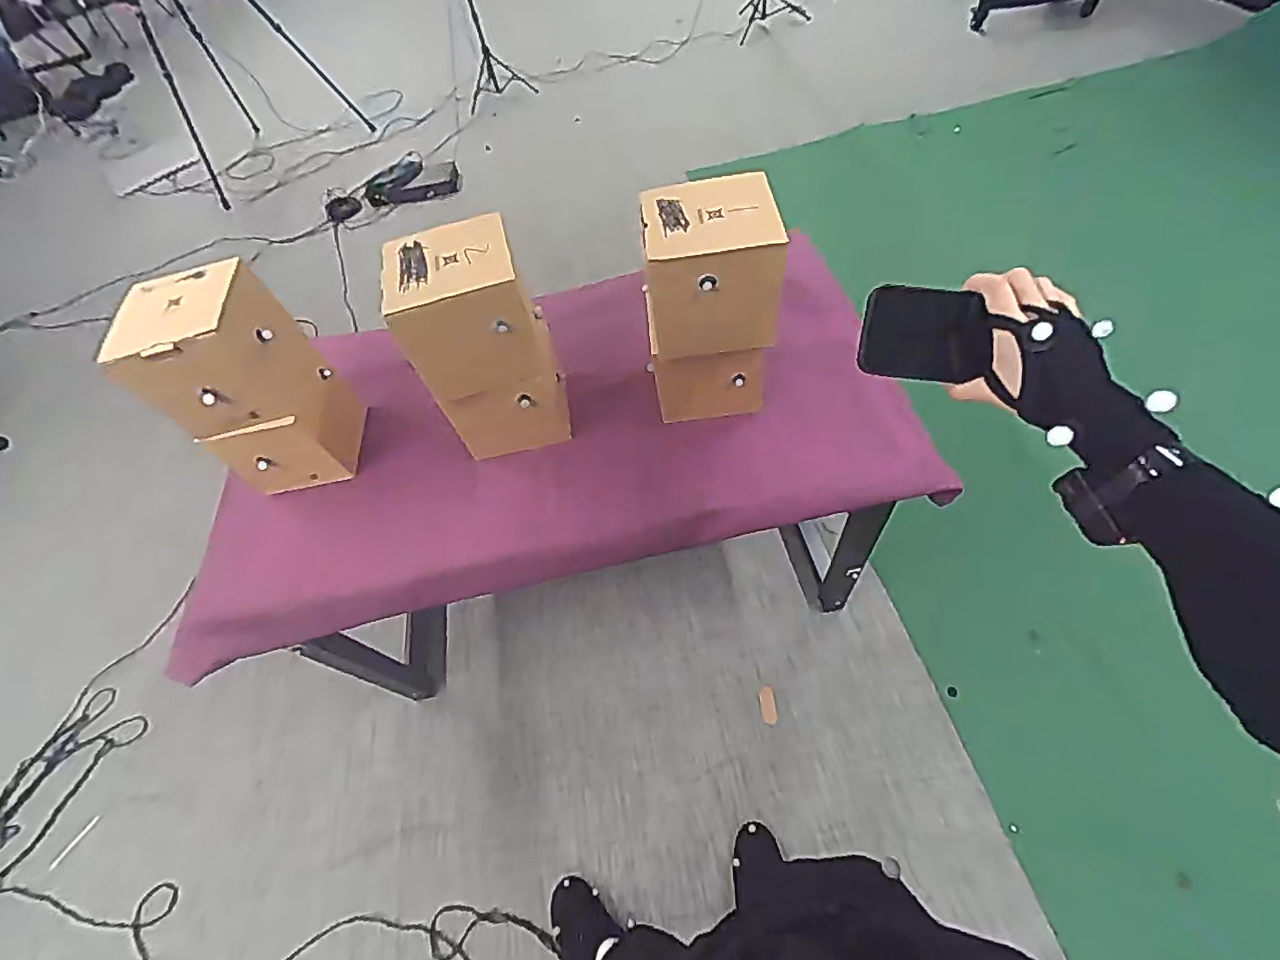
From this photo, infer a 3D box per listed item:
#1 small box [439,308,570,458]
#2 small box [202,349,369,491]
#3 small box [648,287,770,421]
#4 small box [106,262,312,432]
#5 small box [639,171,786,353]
[{"bbox_3d":[-0.222,-0.161,0.927,0.179,0.176,0.168,-12,56,2],"label":"small box"},{"bbox_3d":[-0.607,-0.096,0.953,0.168,0.176,0.179,-12,56,2],"label":"small box"},{"bbox_3d":[0.113,-0.219,0.907,0.179,0.176,0.168,-7,56,6],"label":"small box"},{"bbox_3d":[-0.632,-0.192,0.822,0.168,0.176,0.179,-15,56,-1],"label":"small box"},{"bbox_3d":[0.100,-0.298,0.763,0.179,0.176,0.168,-7,56,5],"label":"small box"}]
